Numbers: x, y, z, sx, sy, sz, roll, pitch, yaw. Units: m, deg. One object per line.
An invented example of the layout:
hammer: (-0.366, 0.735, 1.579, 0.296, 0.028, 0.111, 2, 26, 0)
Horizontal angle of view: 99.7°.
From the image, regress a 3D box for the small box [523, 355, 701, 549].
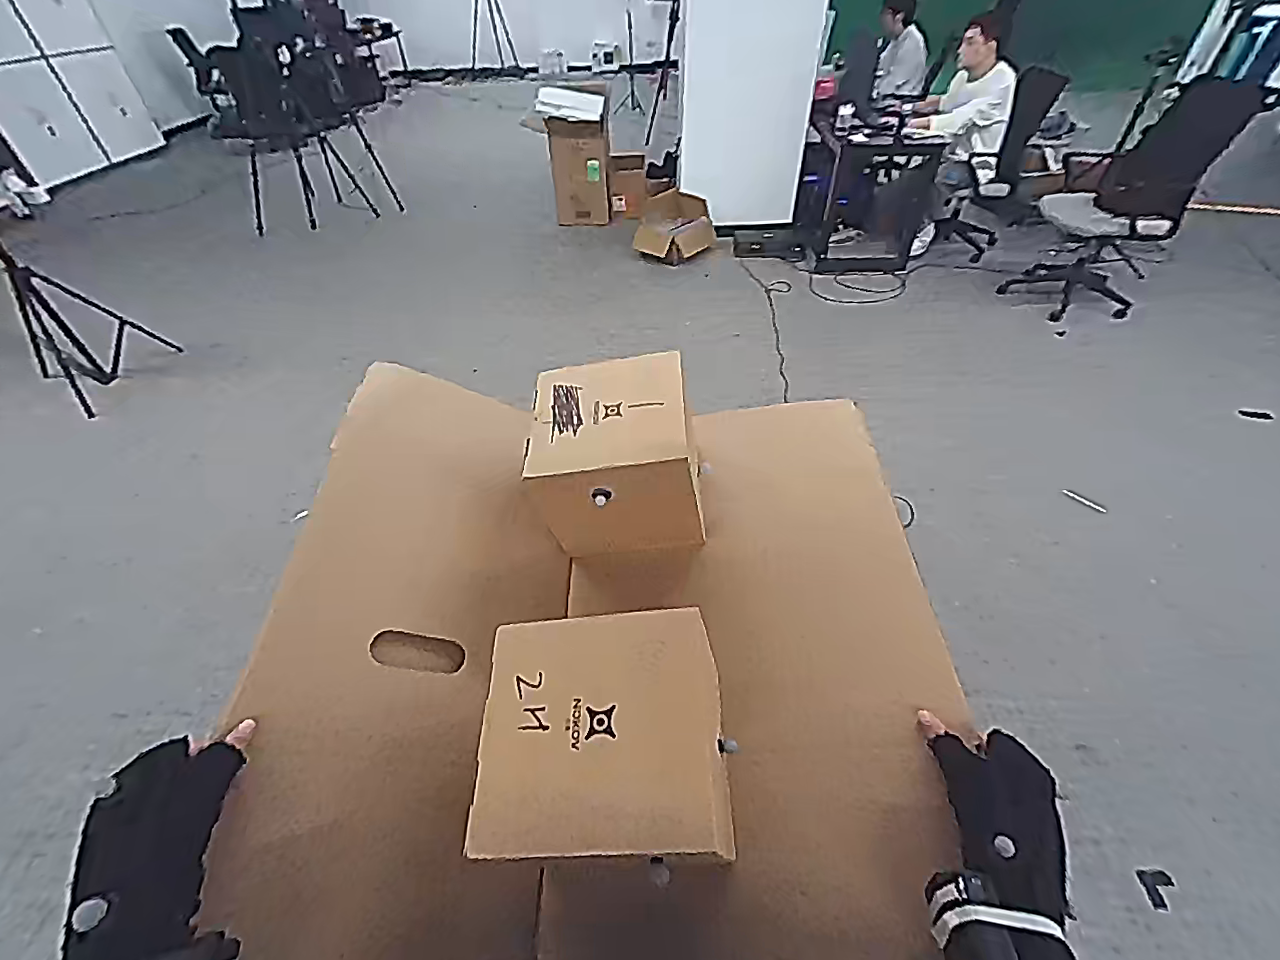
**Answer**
small box: (-0.024, -0.027, 0.671, 0.179, 0.176, 0.168, -7, 52, 9)

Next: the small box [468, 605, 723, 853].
small box: (-0.021, 0.225, 0.479, 0.179, 0.176, 0.168, -8, 52, 10)
